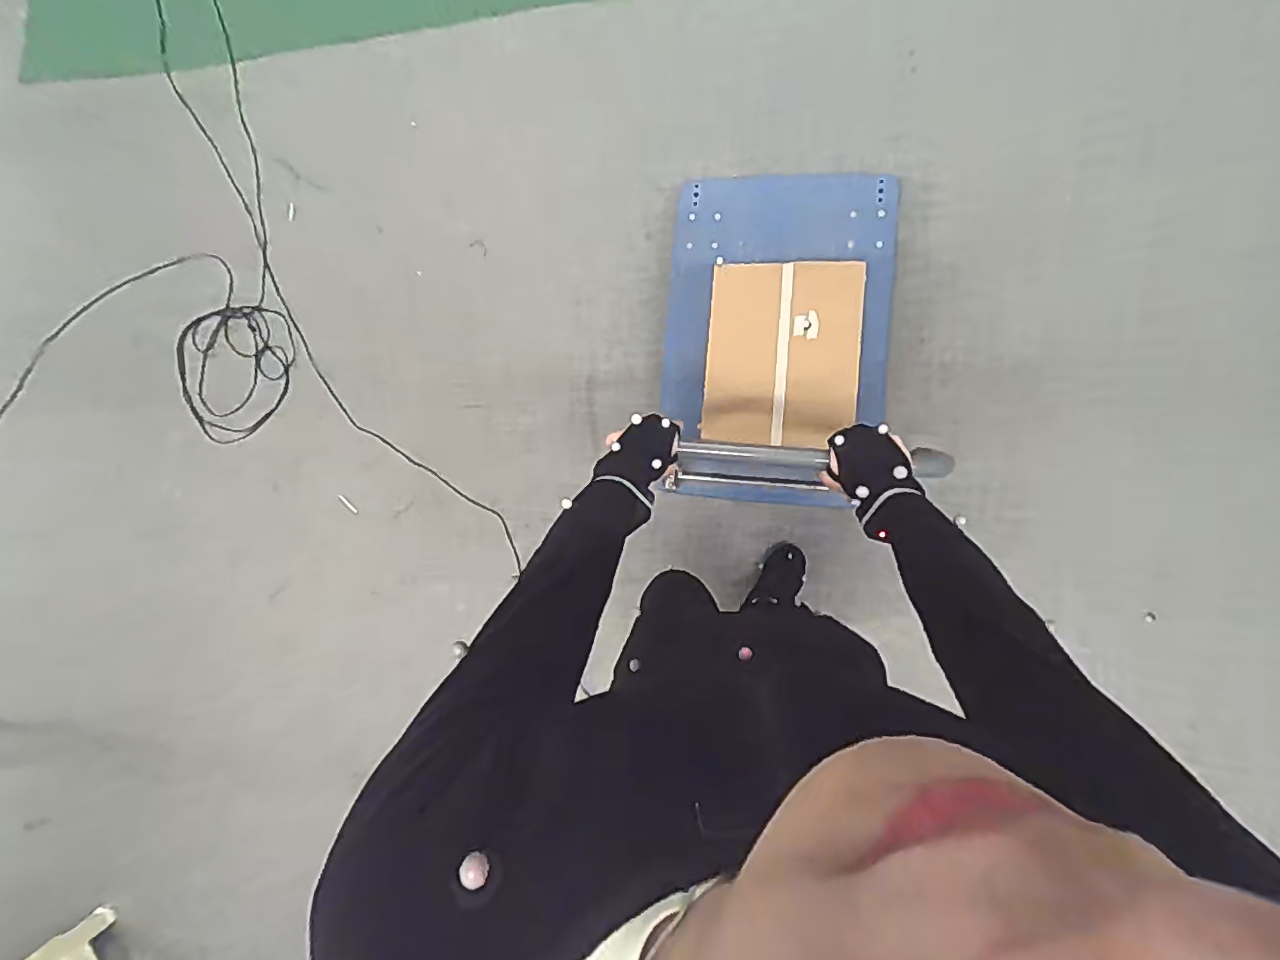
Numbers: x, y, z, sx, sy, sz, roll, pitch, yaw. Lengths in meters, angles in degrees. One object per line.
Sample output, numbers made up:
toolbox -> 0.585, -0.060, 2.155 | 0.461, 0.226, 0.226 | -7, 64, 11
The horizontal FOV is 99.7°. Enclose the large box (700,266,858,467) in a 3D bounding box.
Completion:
large box -> 0.325, -0.247, 1.294 | 0.320, 0.320, 0.408 | 4, 87, 12
